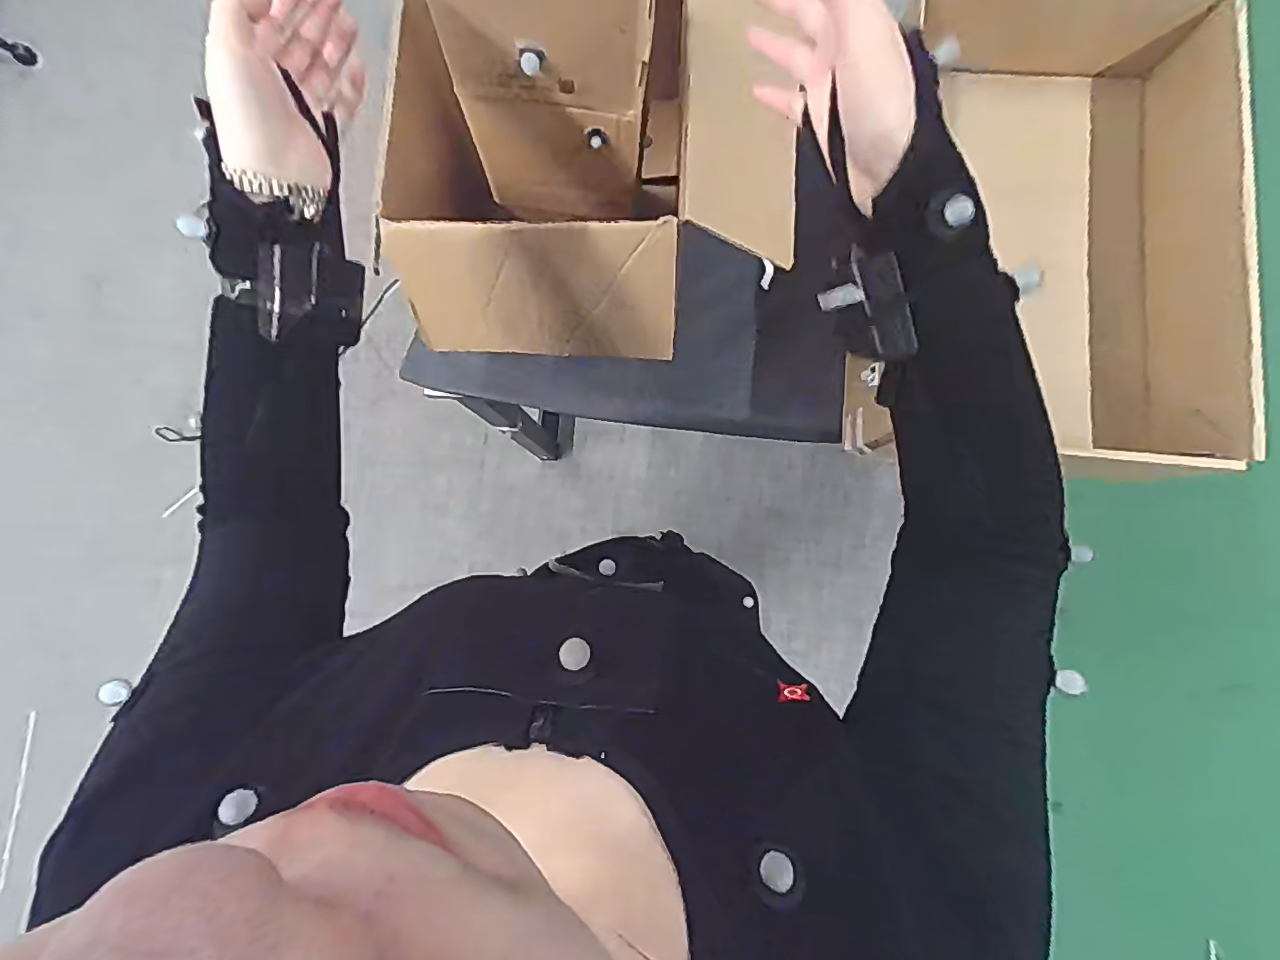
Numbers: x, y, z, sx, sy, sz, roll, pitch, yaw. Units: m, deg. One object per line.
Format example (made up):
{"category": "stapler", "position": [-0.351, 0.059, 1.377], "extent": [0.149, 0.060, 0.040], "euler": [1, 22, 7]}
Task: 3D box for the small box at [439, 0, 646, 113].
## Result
{"category": "small box", "position": [-0.076, -0.447, 0.436], "extent": [0.168, 0.176, 0.179], "euler": [4, 82, -3]}
